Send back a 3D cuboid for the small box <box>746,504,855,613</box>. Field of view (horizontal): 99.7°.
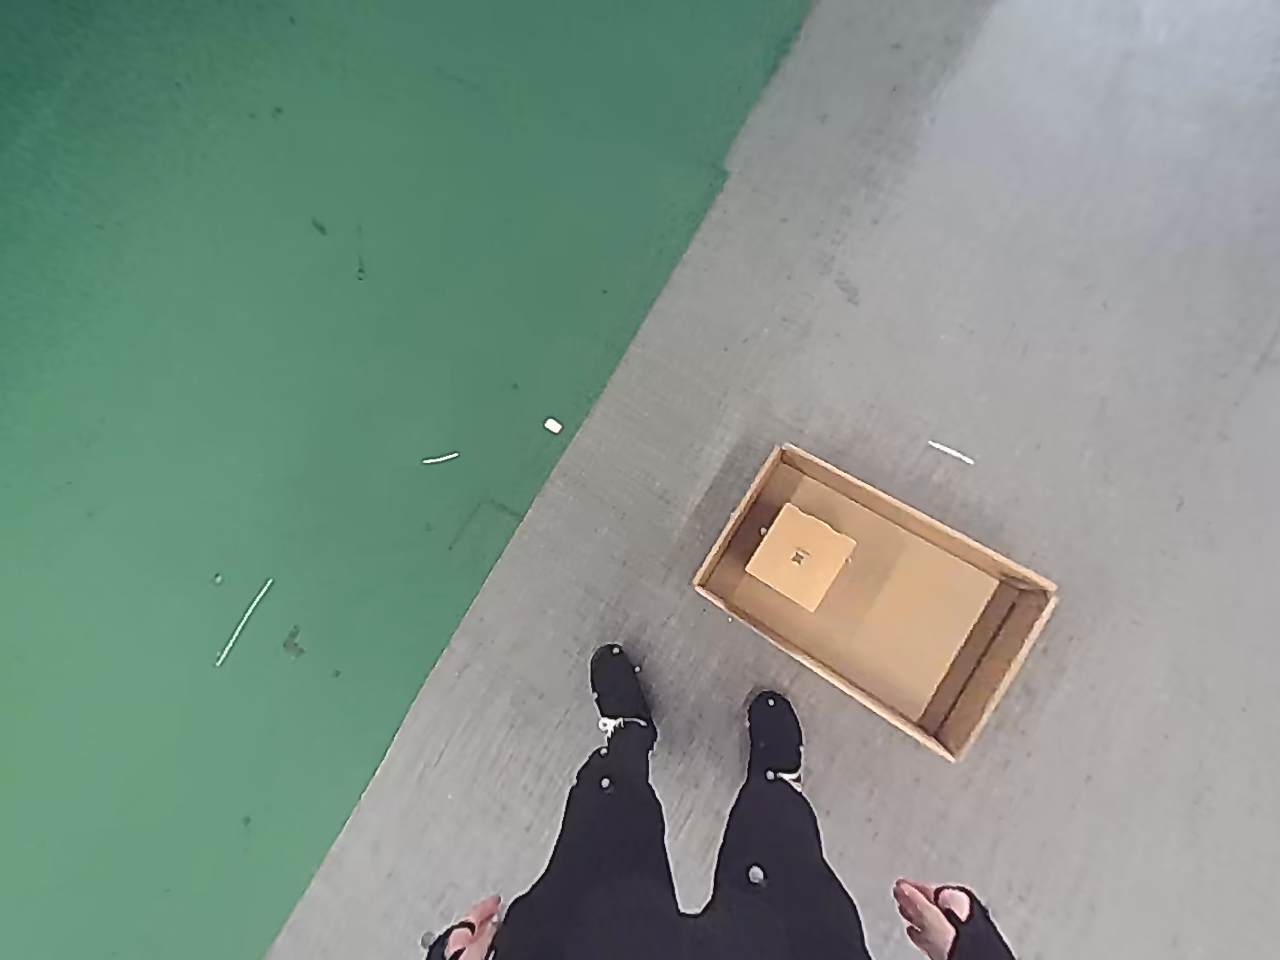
[{"bbox_3d":[0.358,0.179,1.217,0.168,0.176,0.179,32,87,17],"label":"small box"}]
